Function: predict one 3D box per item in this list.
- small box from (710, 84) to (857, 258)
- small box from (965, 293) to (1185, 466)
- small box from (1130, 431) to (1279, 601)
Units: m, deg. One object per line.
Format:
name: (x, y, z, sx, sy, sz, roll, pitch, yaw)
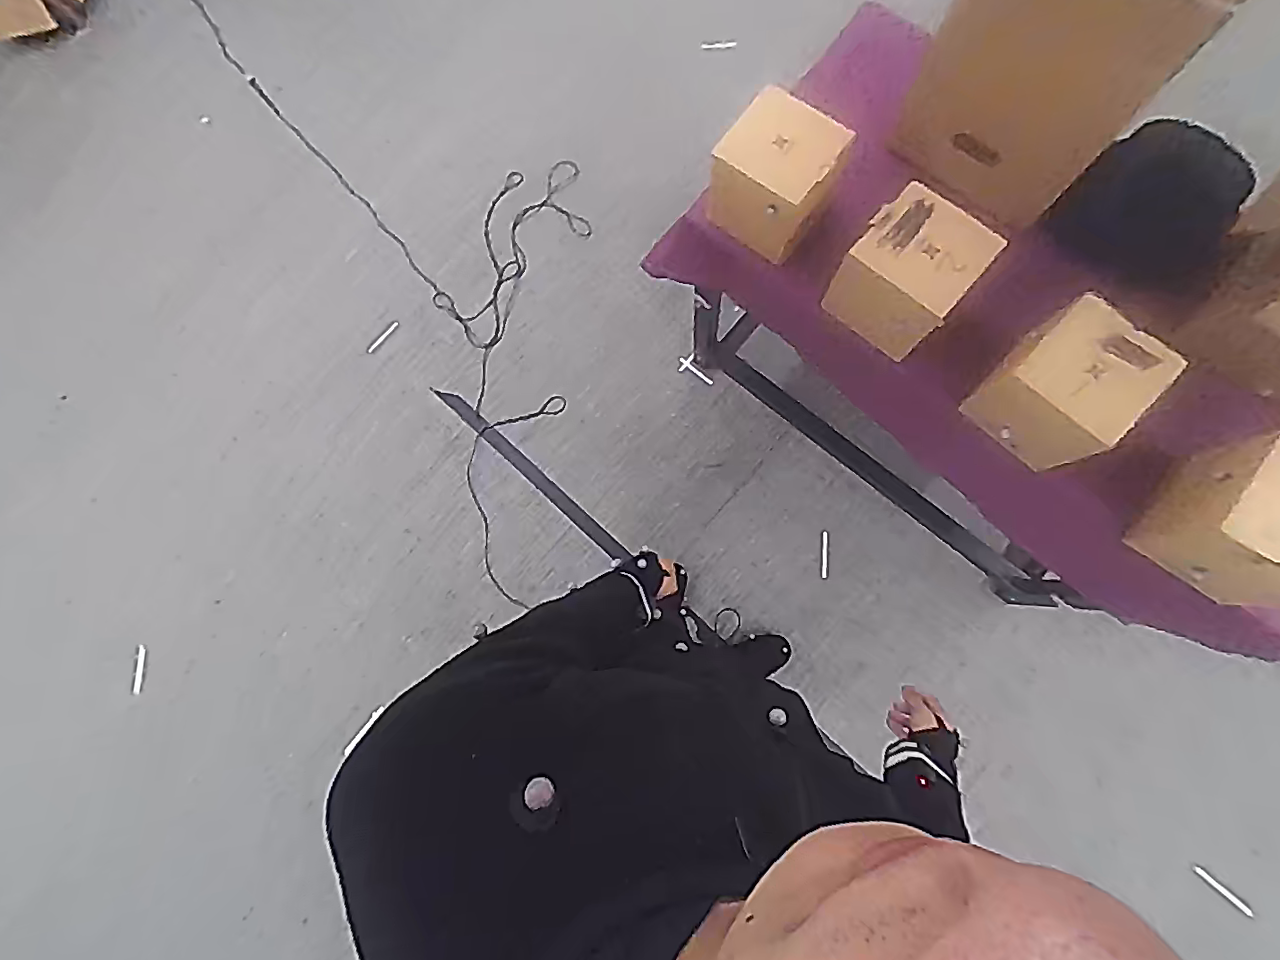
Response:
small box: (0.239, -0.533, 0.956, 0.179, 0.176, 0.168, 38, 84, 9)
small box: (0.660, -0.147, 0.848, 0.168, 0.176, 0.179, 44, 86, 11)
small box: (0.889, 0.058, 0.789, 0.168, 0.176, 0.179, 38, 85, 11)
